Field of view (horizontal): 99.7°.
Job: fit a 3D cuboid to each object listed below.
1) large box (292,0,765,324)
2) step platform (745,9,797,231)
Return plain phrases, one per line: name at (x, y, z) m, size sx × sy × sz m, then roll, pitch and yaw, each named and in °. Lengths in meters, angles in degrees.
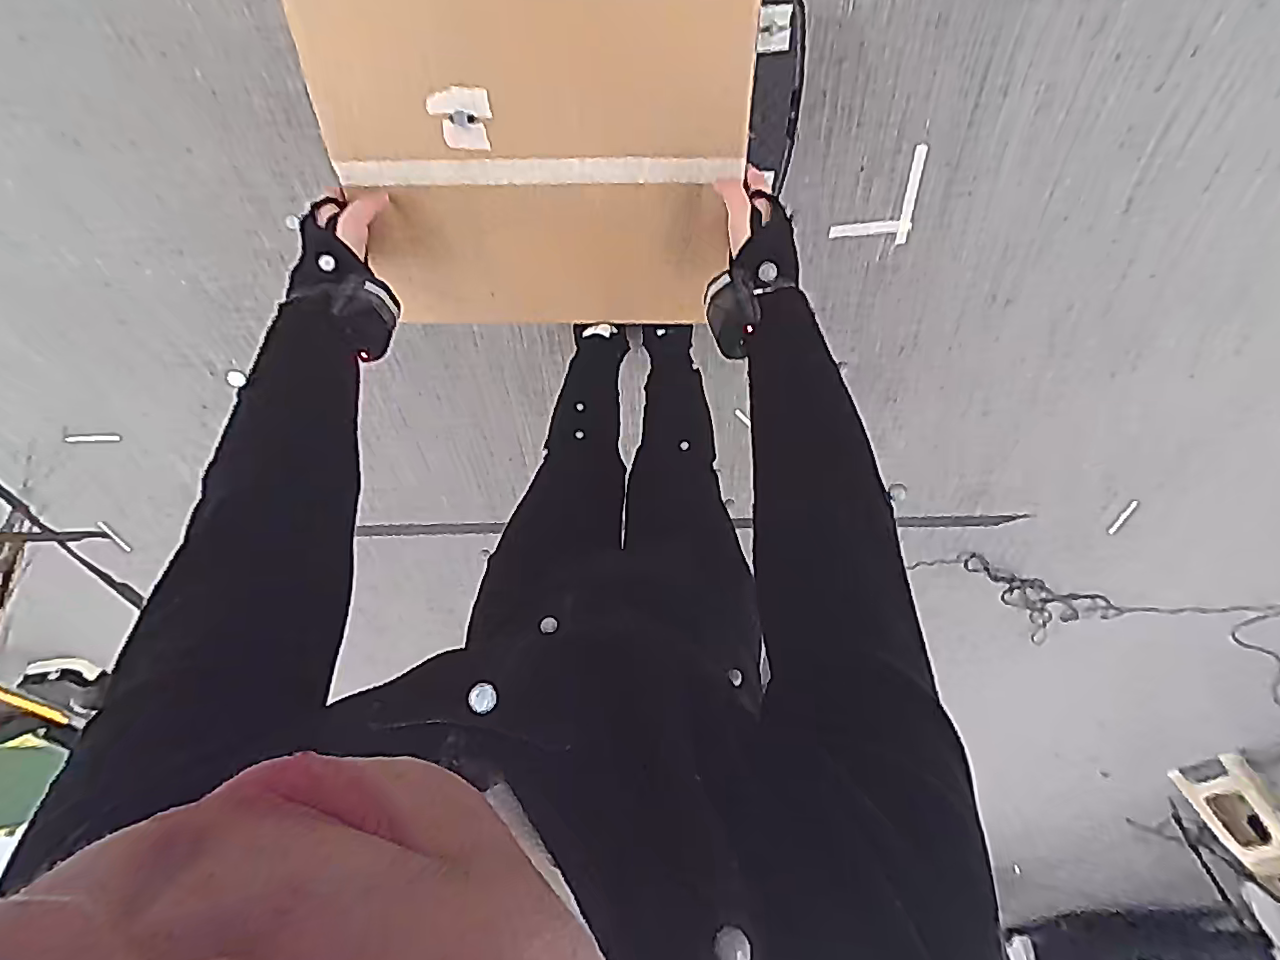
large box at (-0.086, -0.393, 0.642) m, size 0.408 × 0.320 × 0.320 m, roll 1°, pitch 127°, yaw 2°
step platform at (-0.109, -0.583, 0.858) m, size 0.684 × 0.204 × 0.286 m, roll 4°, pitch 133°, yaw -1°
